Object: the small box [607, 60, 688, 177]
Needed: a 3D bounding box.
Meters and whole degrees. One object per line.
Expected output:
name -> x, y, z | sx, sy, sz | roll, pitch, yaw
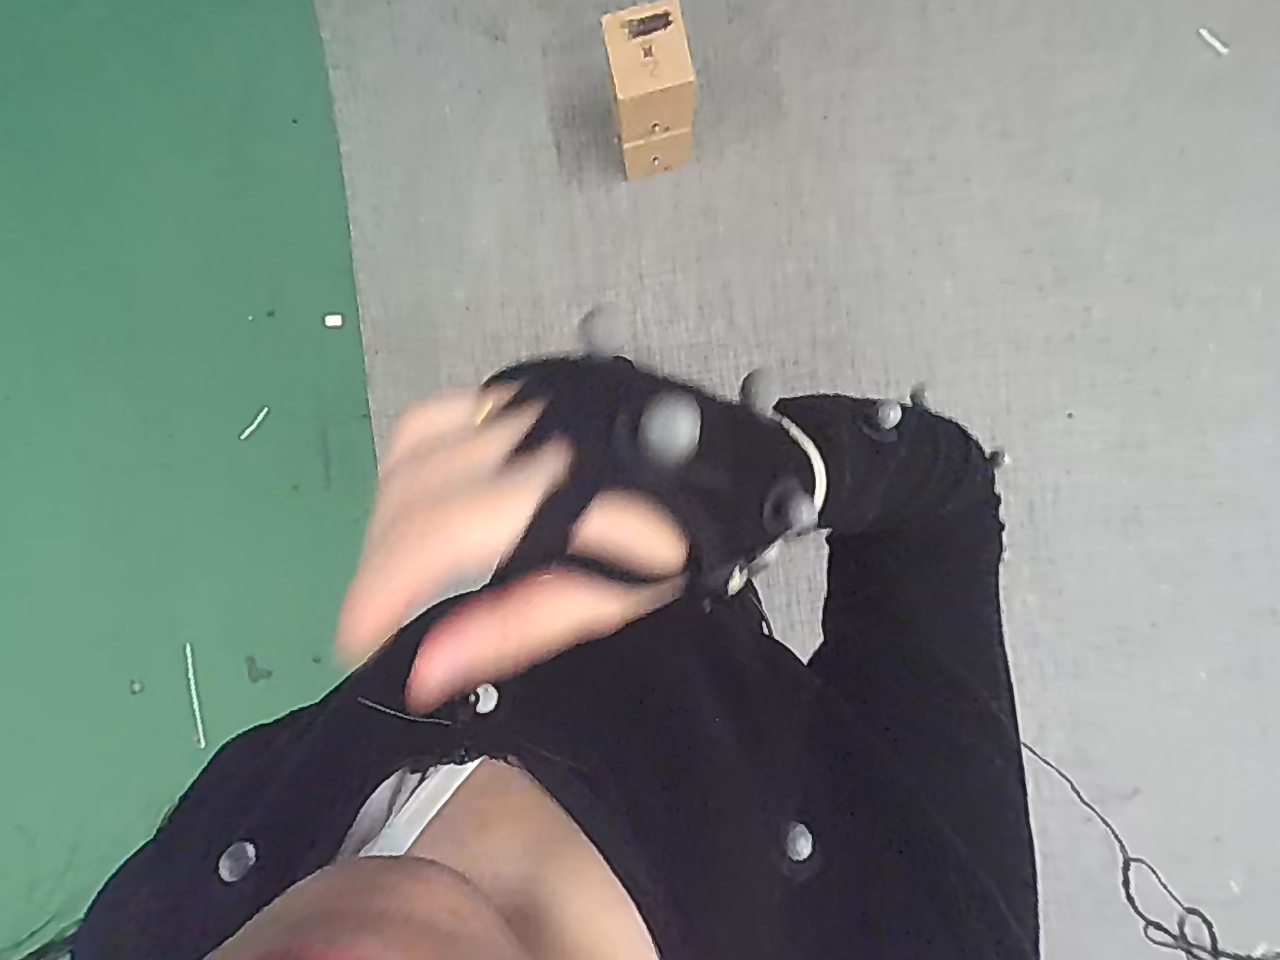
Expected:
small box -> 0.023, -0.892, 1.359 | 0.168, 0.176, 0.179 | -13, 93, 3
